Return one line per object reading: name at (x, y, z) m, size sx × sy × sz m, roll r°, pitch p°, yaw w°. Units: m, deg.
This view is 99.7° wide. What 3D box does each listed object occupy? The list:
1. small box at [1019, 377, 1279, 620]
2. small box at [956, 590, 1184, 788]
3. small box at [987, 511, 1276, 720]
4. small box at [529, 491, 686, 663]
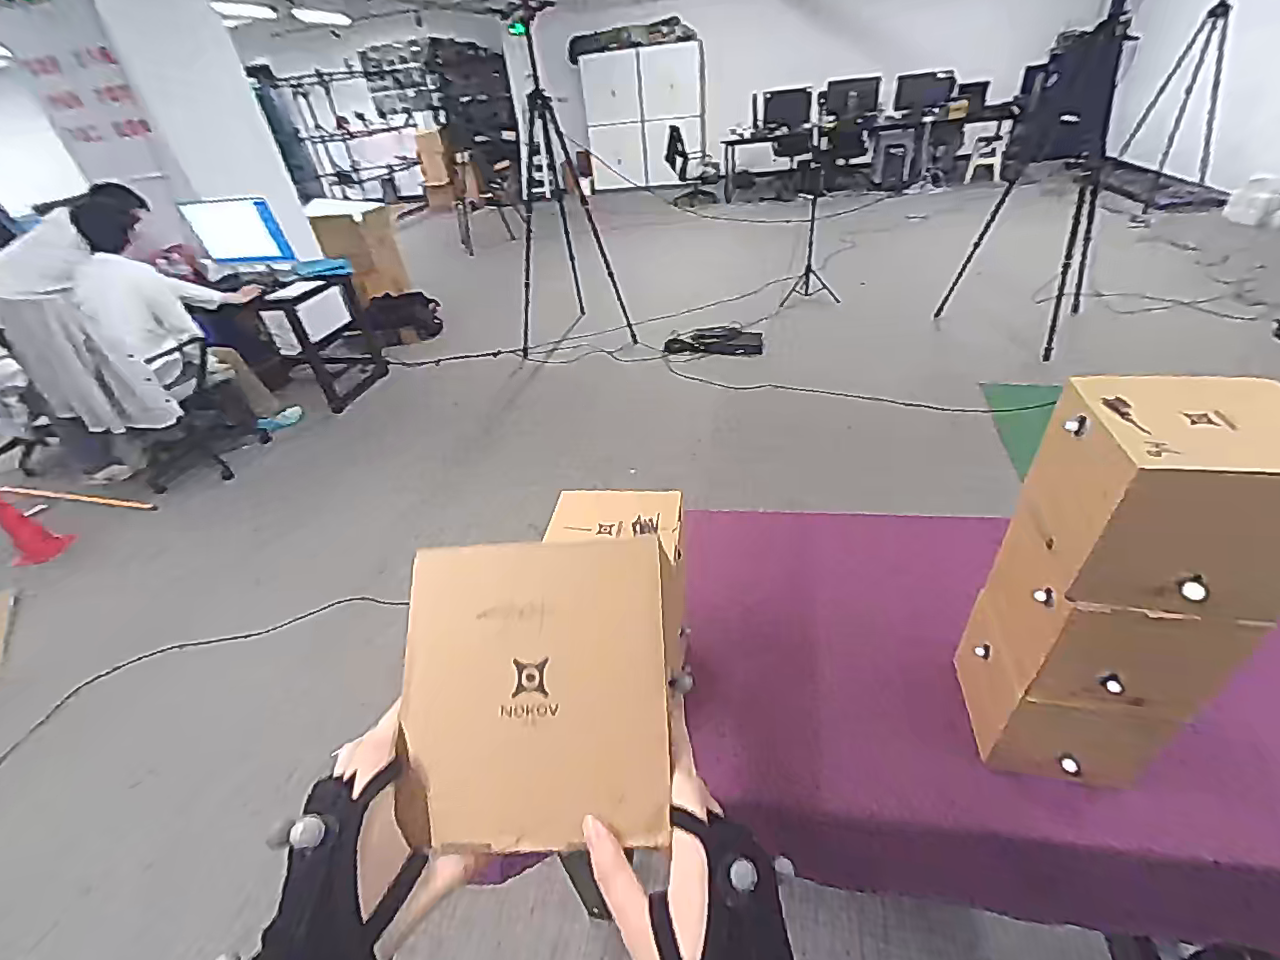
small box at (0.517, 0.016, 0.531) m, size 0.179 × 0.176 × 0.168 m, roll 5°, pitch 38°, yaw 14°
small box at (0.549, 0.276, 0.728) m, size 0.168 × 0.176 × 0.179 m, roll 2°, pitch 38°, yaw 14°
small box at (0.536, 0.146, 0.630) m, size 0.168 × 0.176 × 0.179 m, roll 3°, pitch 39°, yaw 13°
small box at (-0.030, 0.132, 0.741) m, size 0.179 × 0.176 × 0.168 m, roll 0°, pitch 37°, yaw 9°
